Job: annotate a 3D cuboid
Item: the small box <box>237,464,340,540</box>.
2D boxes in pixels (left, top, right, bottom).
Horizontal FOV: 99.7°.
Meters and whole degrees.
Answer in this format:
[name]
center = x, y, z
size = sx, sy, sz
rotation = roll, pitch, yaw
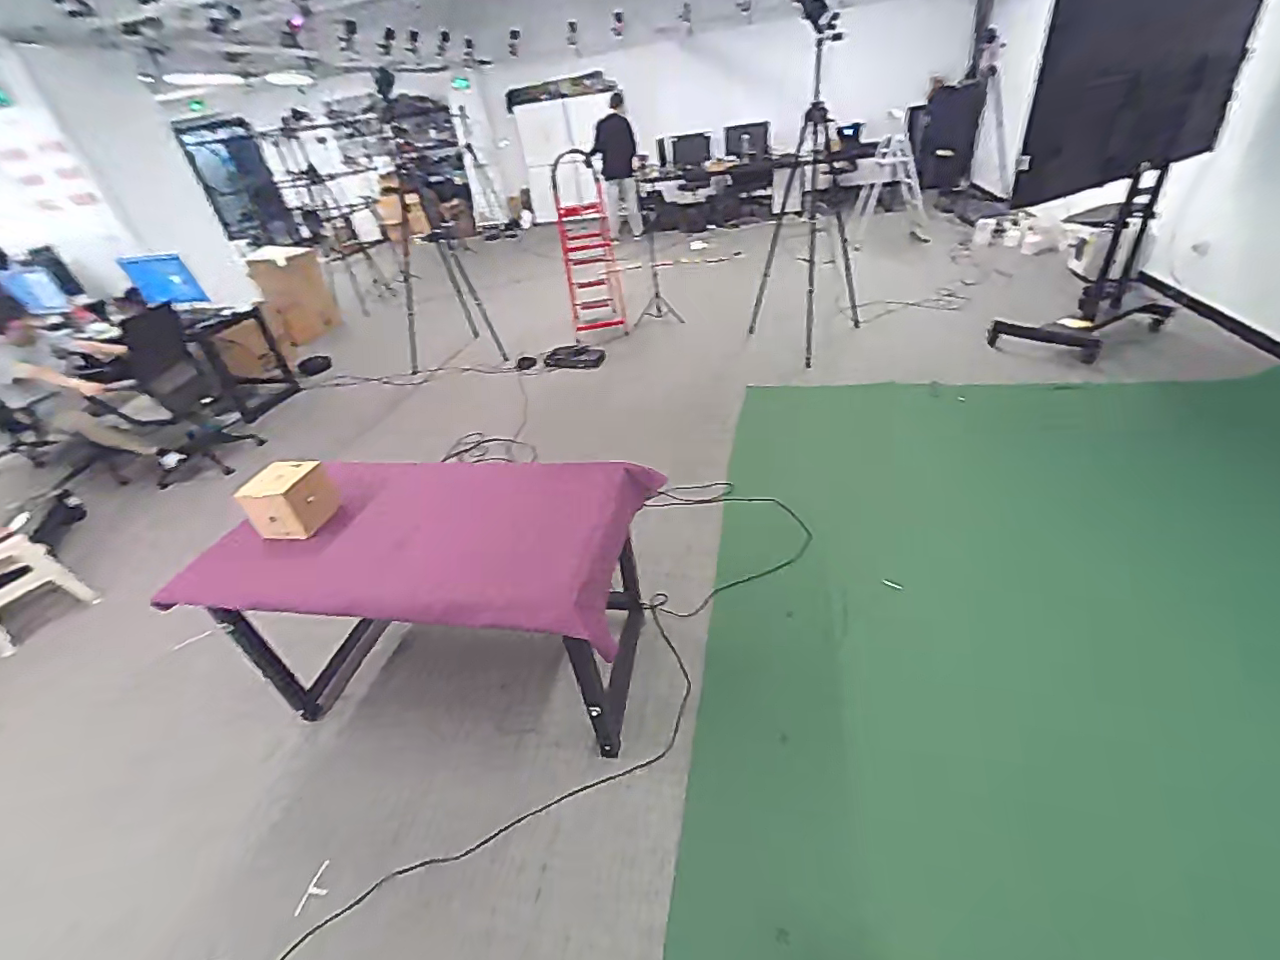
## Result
[small box]
center = -1.058, 0.067, 1.648
size = 0.168, 0.176, 0.179
rotation = 0, 36, 12
